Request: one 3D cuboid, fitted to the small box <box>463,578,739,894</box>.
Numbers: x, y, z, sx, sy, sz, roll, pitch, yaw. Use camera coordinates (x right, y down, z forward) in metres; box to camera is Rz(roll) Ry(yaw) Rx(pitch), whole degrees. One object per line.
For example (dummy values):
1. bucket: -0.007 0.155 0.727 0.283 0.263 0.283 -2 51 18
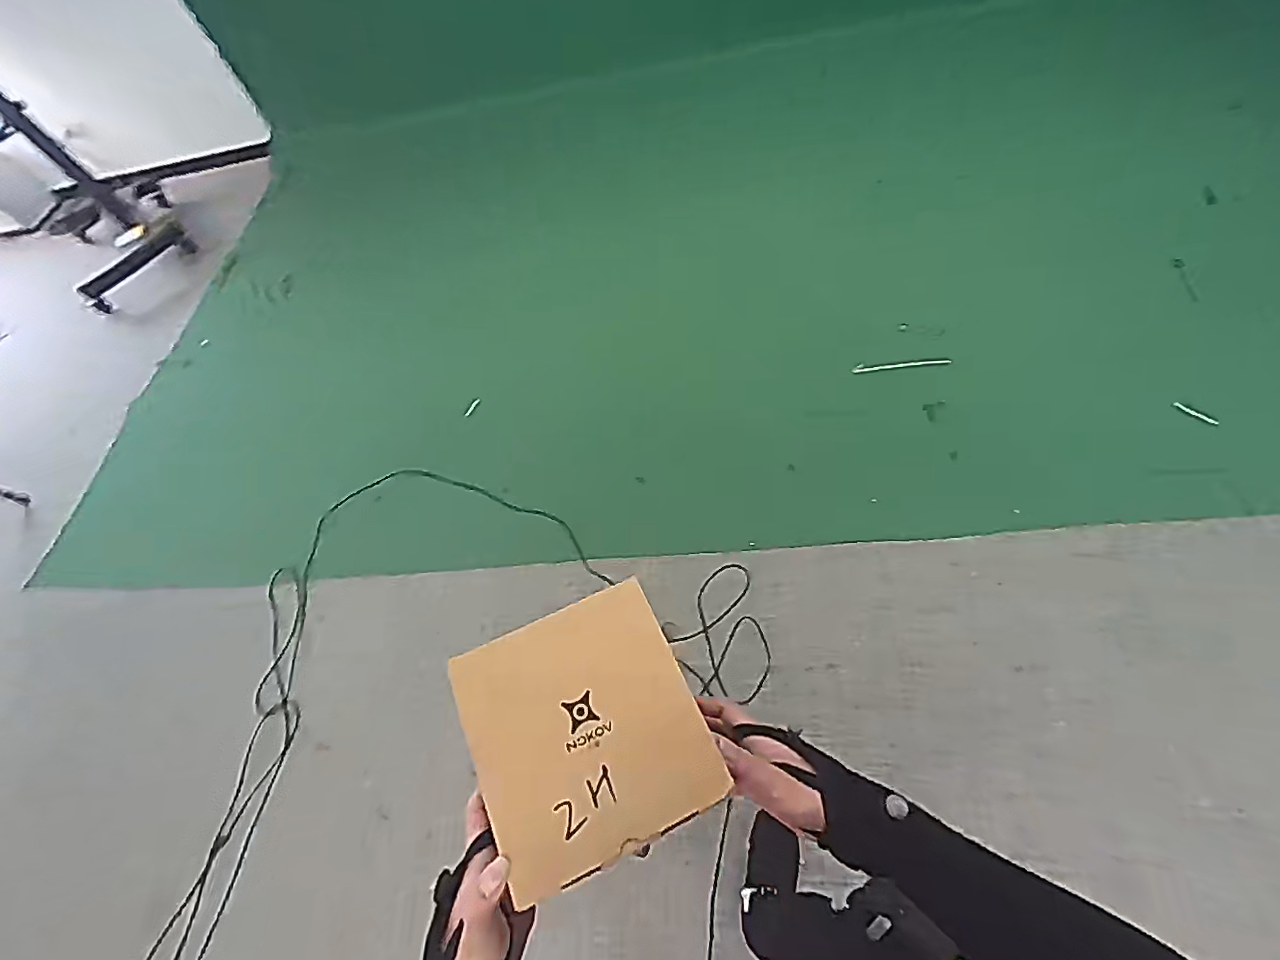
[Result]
1. small box: -0.034 0.216 0.479 0.168 0.176 0.179 -22 65 -9
